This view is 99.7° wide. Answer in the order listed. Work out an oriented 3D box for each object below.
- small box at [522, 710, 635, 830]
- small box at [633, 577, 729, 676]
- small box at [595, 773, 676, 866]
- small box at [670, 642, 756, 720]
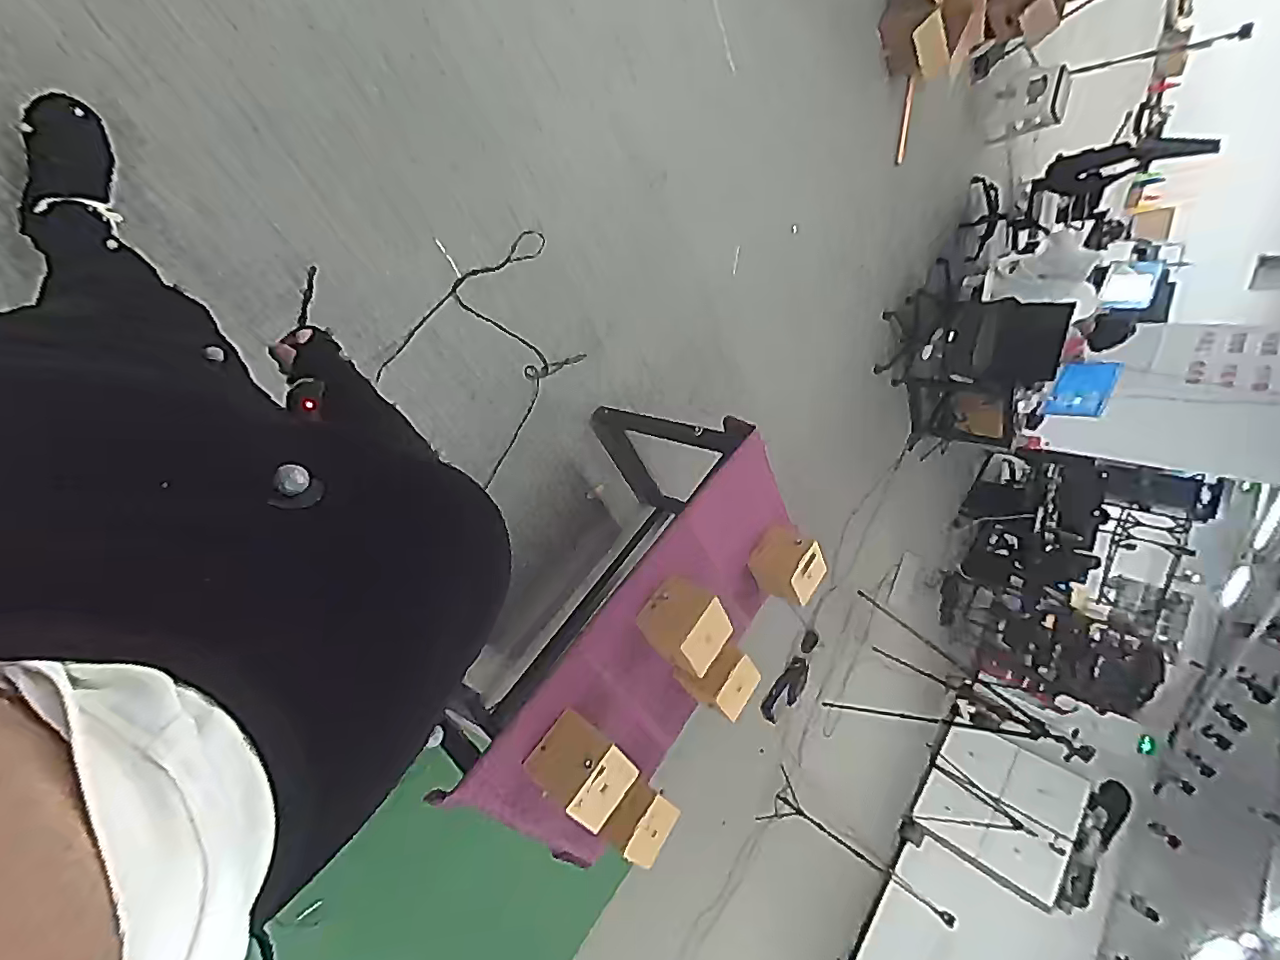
[{"bbox_3d":[-0.147,0.687,1.293,0.168,0.176,0.179,-48,135,-26],"label":"small box"},{"bbox_3d":[0.111,0.389,1.464,0.168,0.176,0.179,-49,134,-24],"label":"small box"},{"bbox_3d":[-0.034,0.911,1.488,0.168,0.176,0.179,-52,133,-24],"label":"small box"},{"bbox_3d":[0.222,0.590,1.653,0.168,0.176,0.179,-50,133,-21],"label":"small box"}]
